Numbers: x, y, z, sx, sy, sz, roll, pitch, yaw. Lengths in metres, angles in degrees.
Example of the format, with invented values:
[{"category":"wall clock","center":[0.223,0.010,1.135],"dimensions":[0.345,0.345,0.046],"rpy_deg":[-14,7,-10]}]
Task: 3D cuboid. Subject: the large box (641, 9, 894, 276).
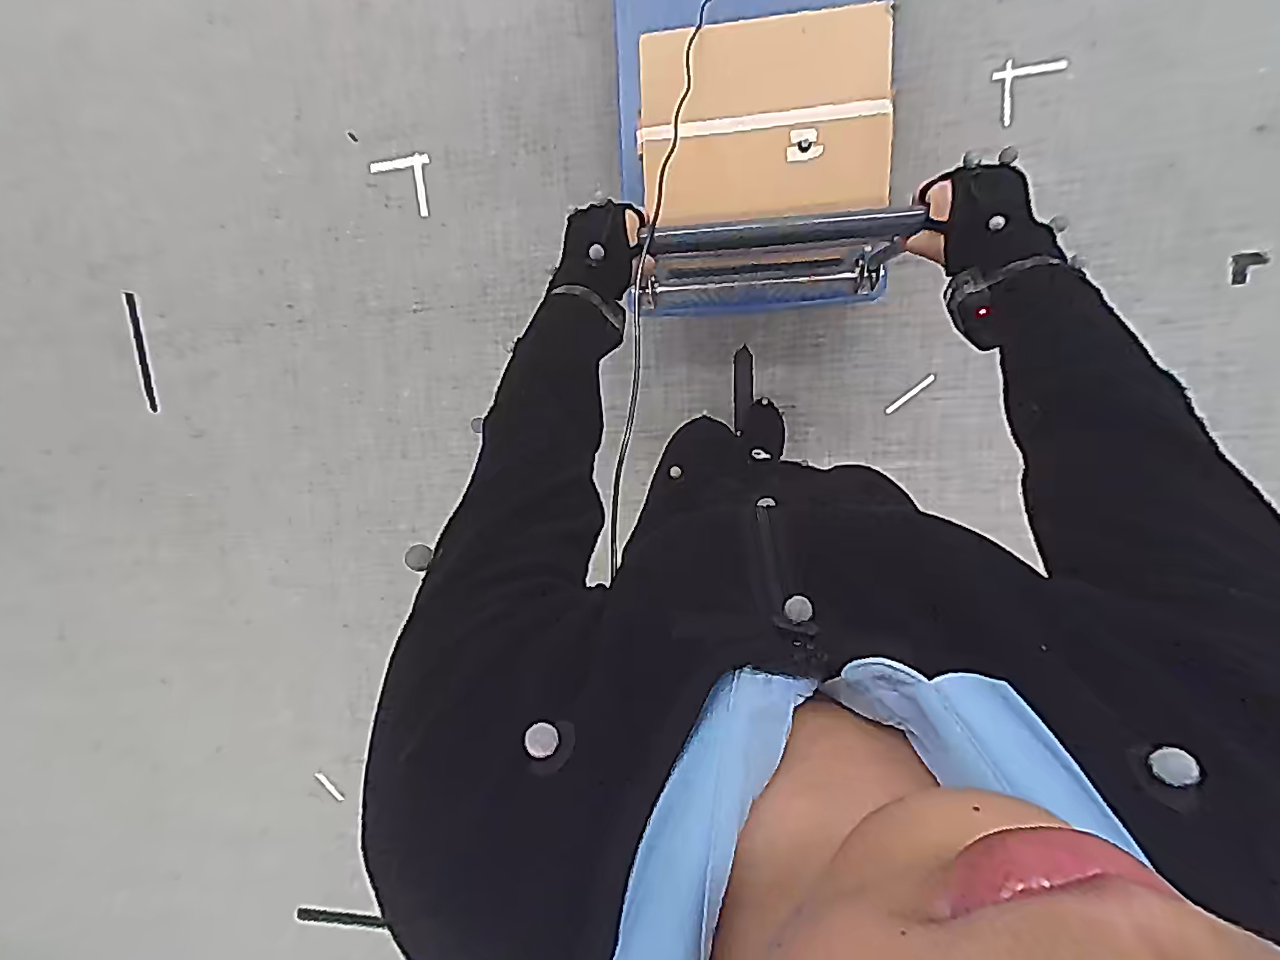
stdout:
[{"category":"large box","center":[0.223,-0.596,1.032],"dimensions":[0.408,0.320,0.320],"rpy_deg":[-1,99,8]}]
